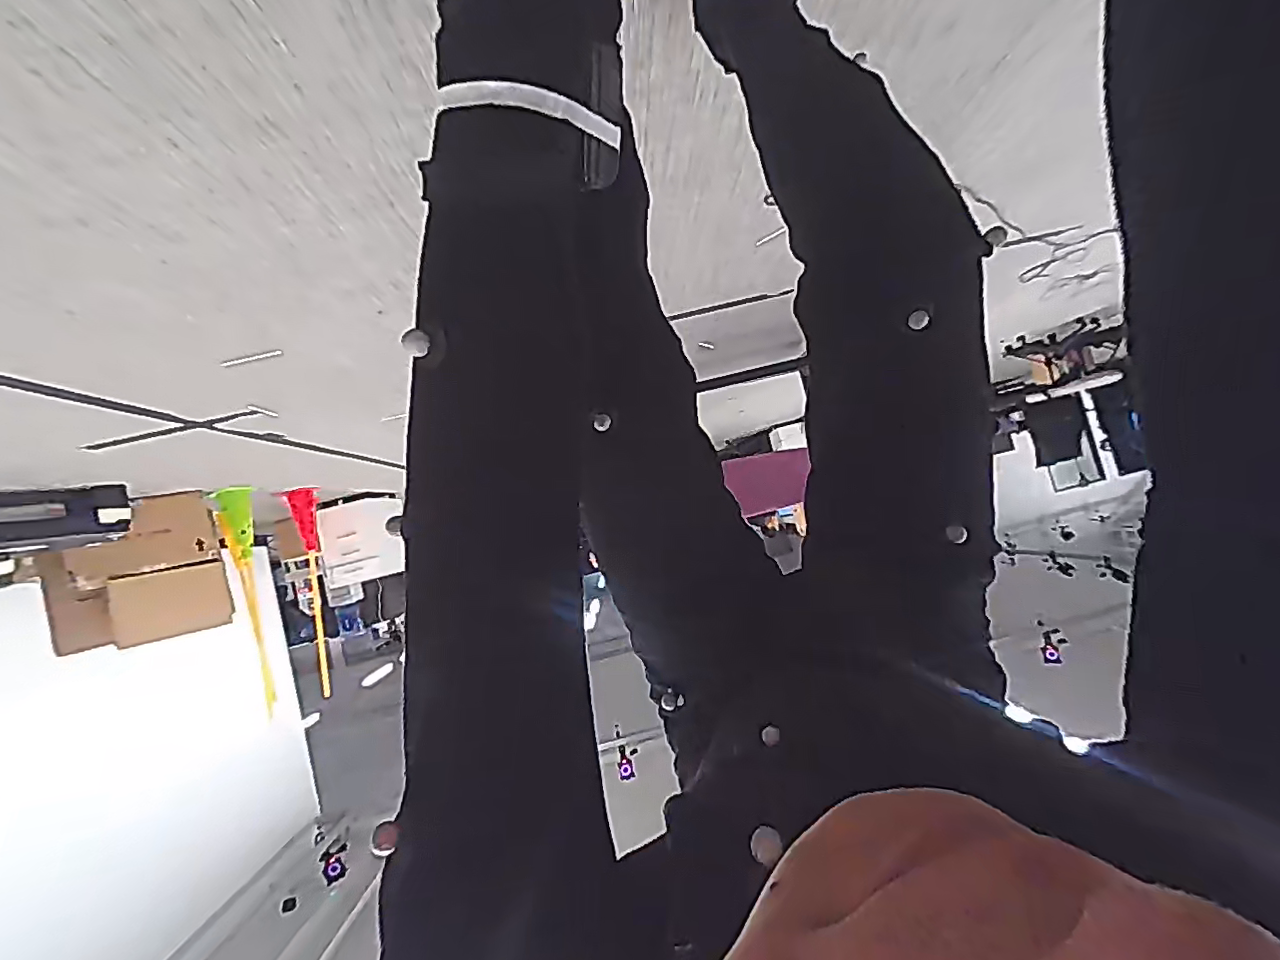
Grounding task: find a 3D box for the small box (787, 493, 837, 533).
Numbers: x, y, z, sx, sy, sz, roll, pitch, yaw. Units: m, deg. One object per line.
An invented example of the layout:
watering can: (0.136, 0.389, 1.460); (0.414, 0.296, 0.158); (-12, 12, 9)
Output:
small box: (0.871, 0.164, 2.753); (0.179, 0.176, 0.168); (-14, 176, -1)
